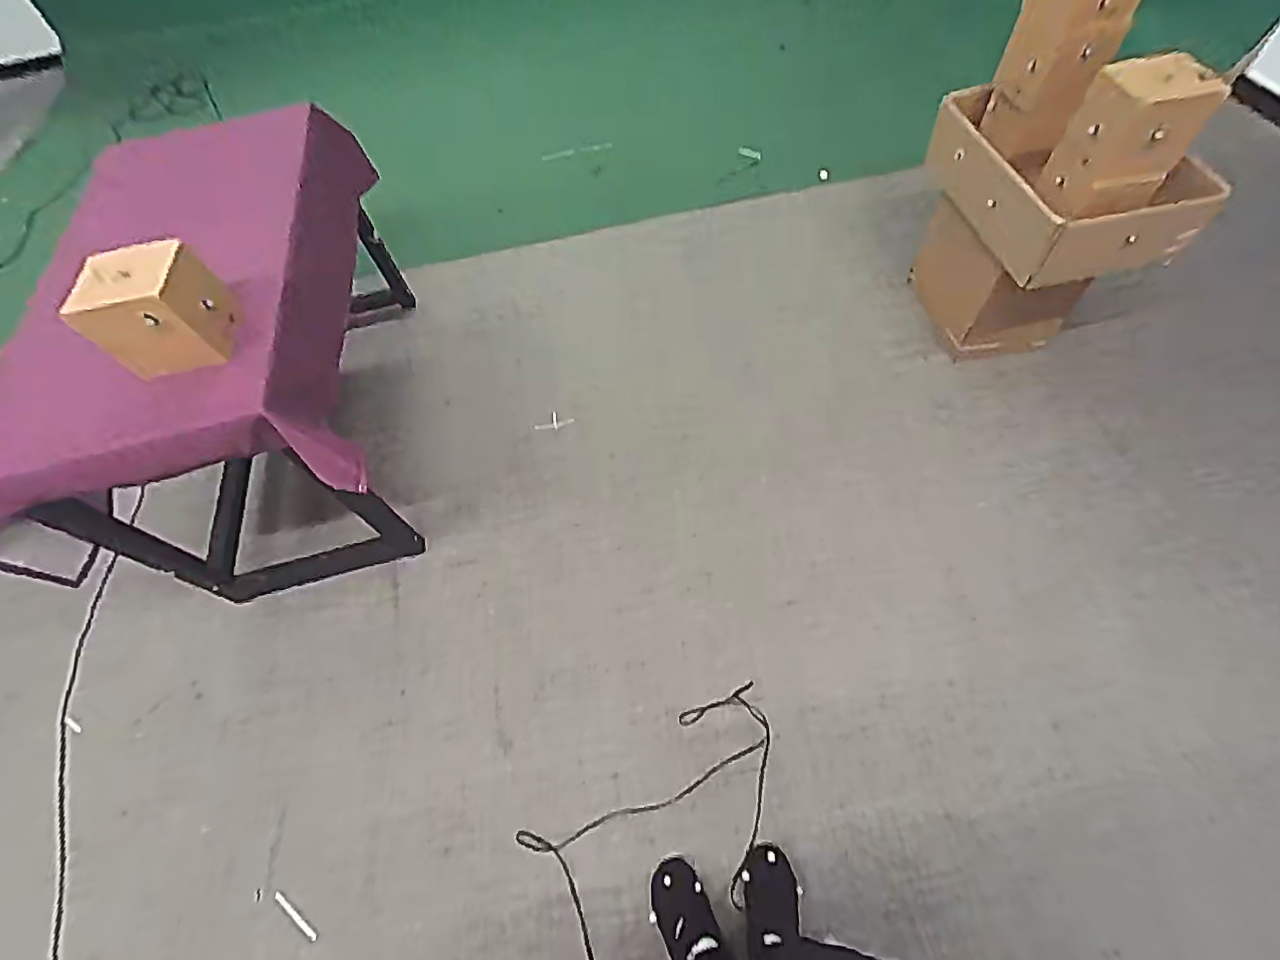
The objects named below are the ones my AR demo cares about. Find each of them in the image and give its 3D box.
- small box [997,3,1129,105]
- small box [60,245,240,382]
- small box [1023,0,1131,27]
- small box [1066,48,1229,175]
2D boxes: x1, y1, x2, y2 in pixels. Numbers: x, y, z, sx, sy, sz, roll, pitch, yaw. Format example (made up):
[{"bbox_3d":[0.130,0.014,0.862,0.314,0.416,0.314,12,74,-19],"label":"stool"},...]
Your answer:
[{"bbox_3d":[1.035,-1.072,1.350,0.179,0.176,0.168,-14,60,-2],"label":"small box"},{"bbox_3d":[-0.919,-0.314,1.038,0.179,0.176,0.168,-13,59,0],"label":"small box"},{"bbox_3d":[1.015,-1.165,1.218,0.168,0.176,0.179,-16,61,-2],"label":"small box"},{"bbox_3d":[1.085,-0.798,1.183,0.179,0.176,0.168,-9,60,2],"label":"small box"}]
